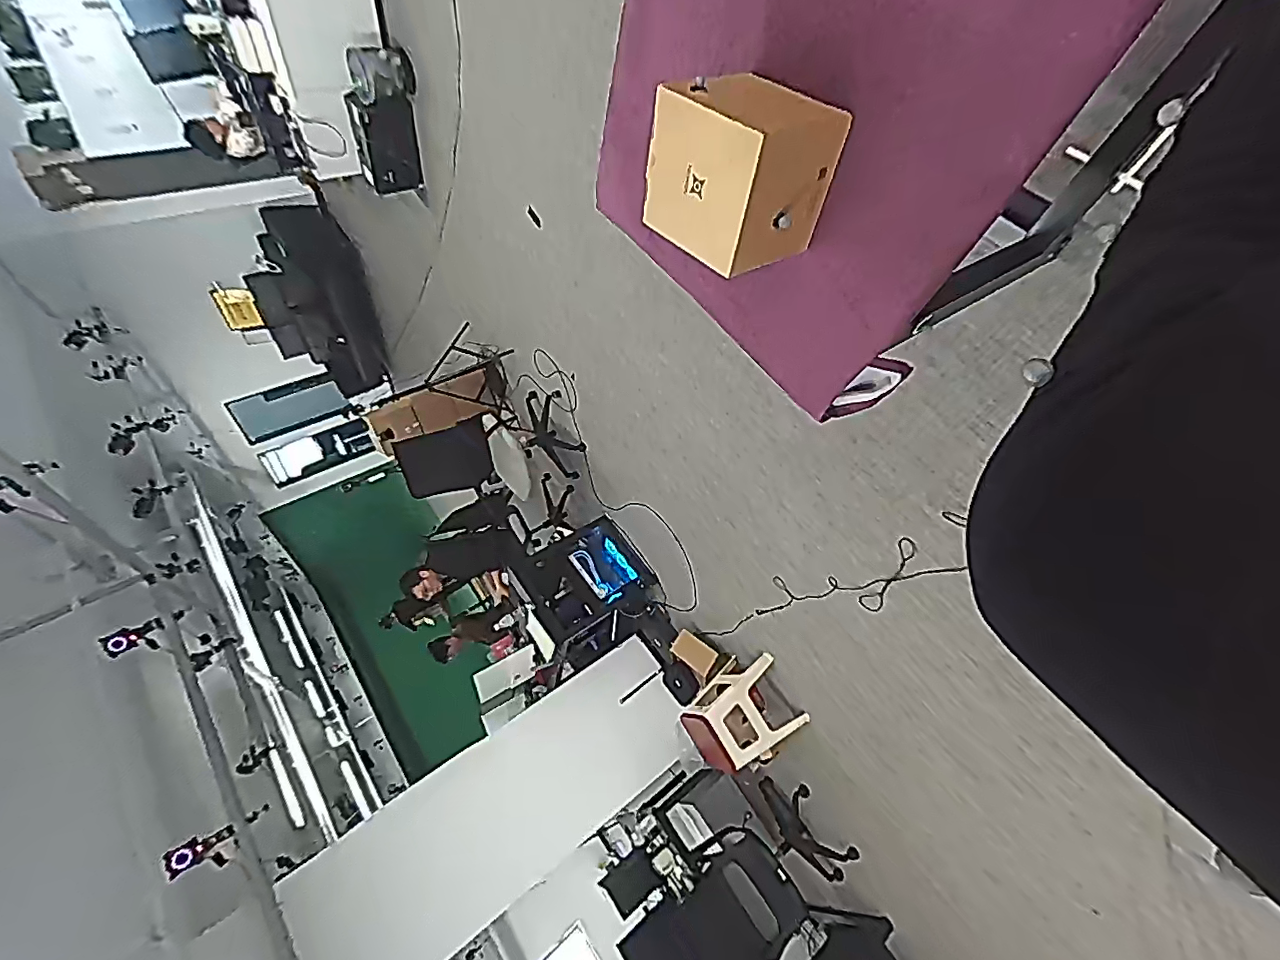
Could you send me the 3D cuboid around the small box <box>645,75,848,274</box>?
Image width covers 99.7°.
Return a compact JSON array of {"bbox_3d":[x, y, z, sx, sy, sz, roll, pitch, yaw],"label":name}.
[{"bbox_3d":[0.131,-0.399,0.696,0.179,0.176,0.168,46,149,28],"label":"small box"}]
